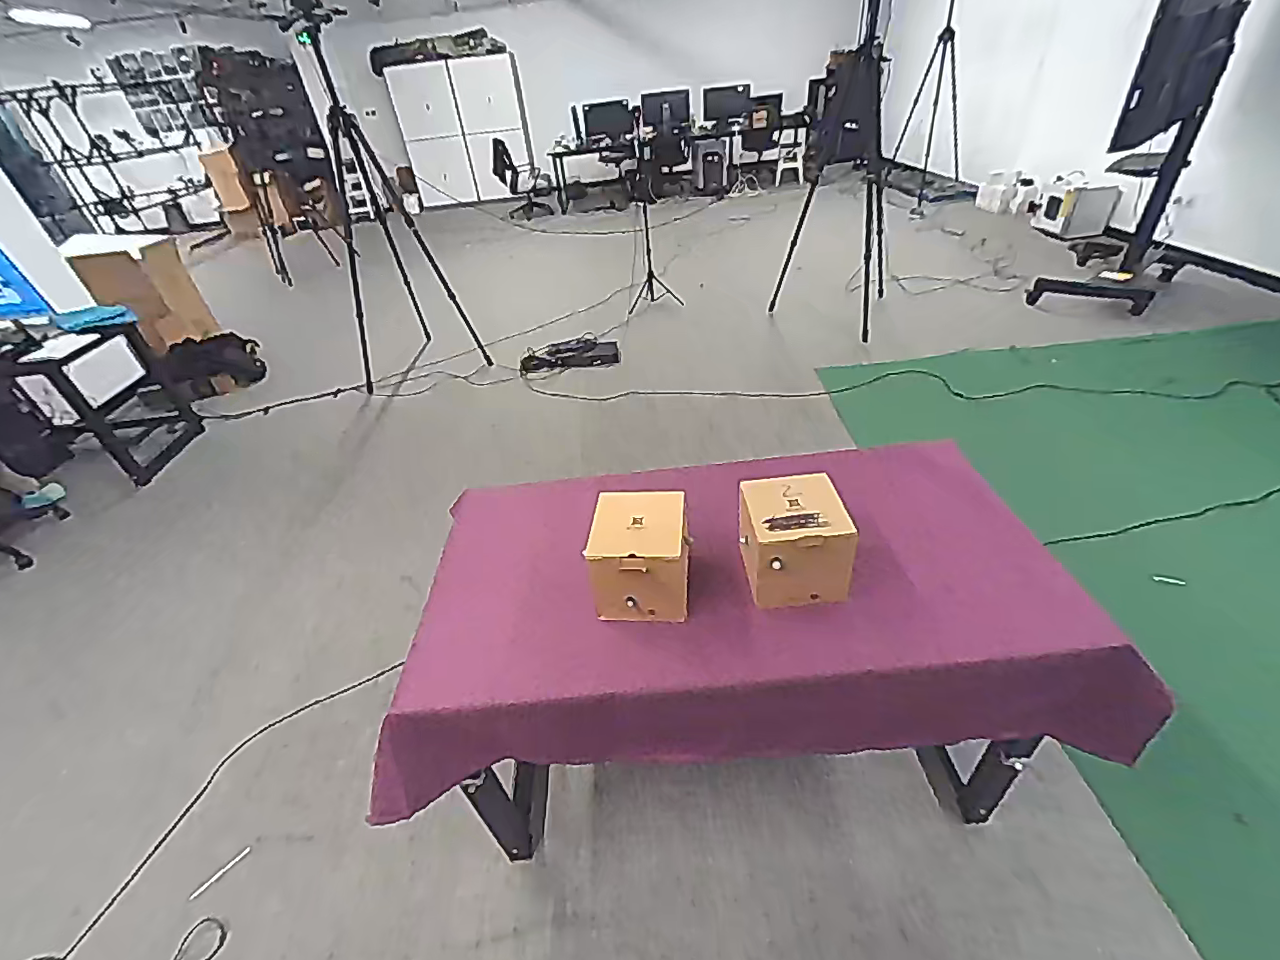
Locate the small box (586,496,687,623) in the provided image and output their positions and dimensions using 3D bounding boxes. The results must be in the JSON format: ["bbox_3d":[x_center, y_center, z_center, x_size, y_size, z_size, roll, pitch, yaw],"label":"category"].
[{"bbox_3d":[0.001,0.148,1.029,0.168,0.176,0.179,-1,38,8],"label":"small box"}]
